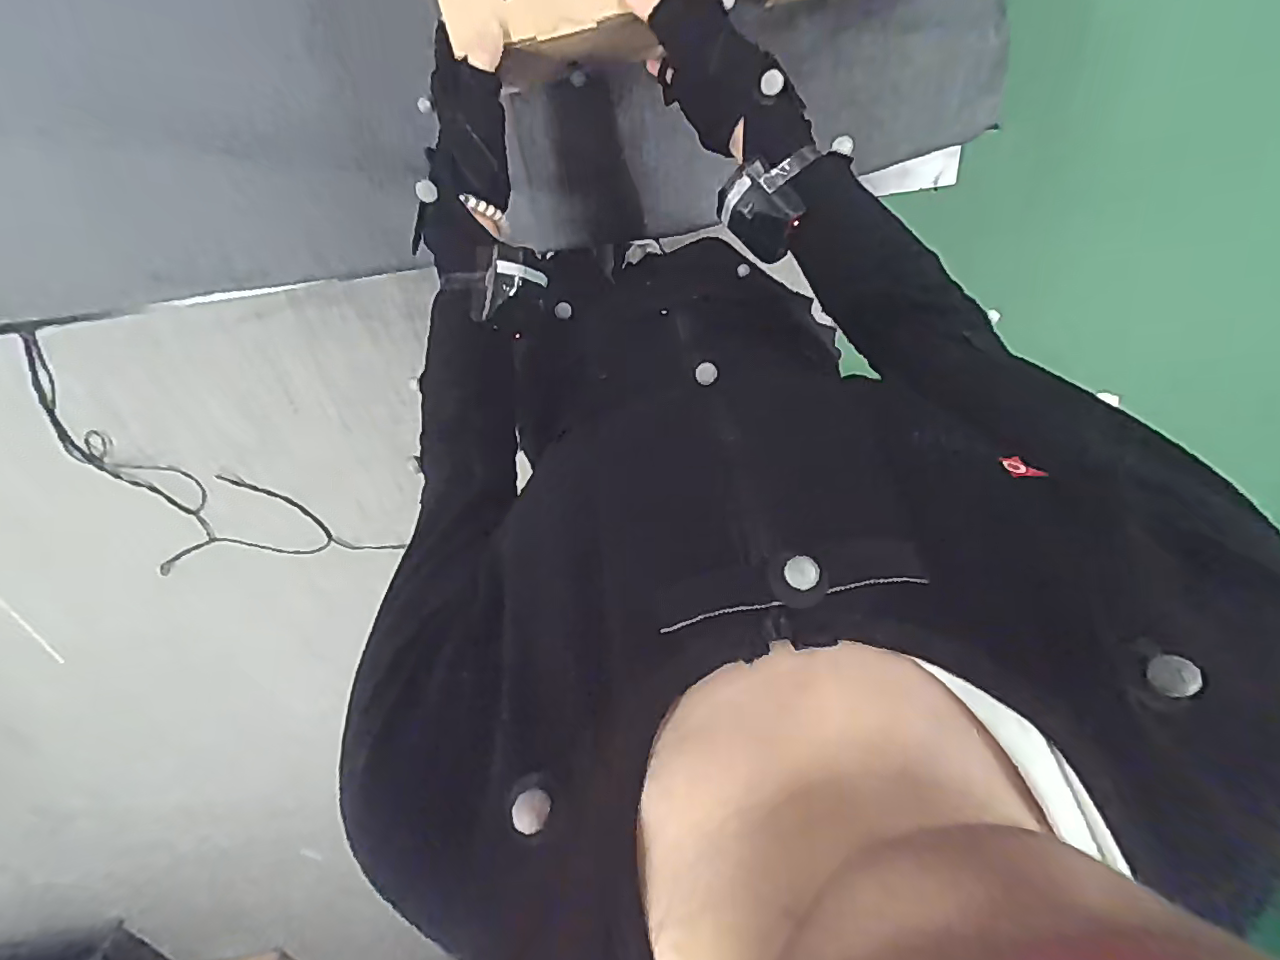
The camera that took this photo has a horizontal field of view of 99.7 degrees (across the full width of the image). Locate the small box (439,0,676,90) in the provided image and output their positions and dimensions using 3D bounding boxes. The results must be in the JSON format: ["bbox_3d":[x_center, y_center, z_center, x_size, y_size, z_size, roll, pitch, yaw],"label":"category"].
[{"bbox_3d":[-0.073,-0.430,0.411,0.168,0.176,0.179,-11,119,4],"label":"small box"}]
